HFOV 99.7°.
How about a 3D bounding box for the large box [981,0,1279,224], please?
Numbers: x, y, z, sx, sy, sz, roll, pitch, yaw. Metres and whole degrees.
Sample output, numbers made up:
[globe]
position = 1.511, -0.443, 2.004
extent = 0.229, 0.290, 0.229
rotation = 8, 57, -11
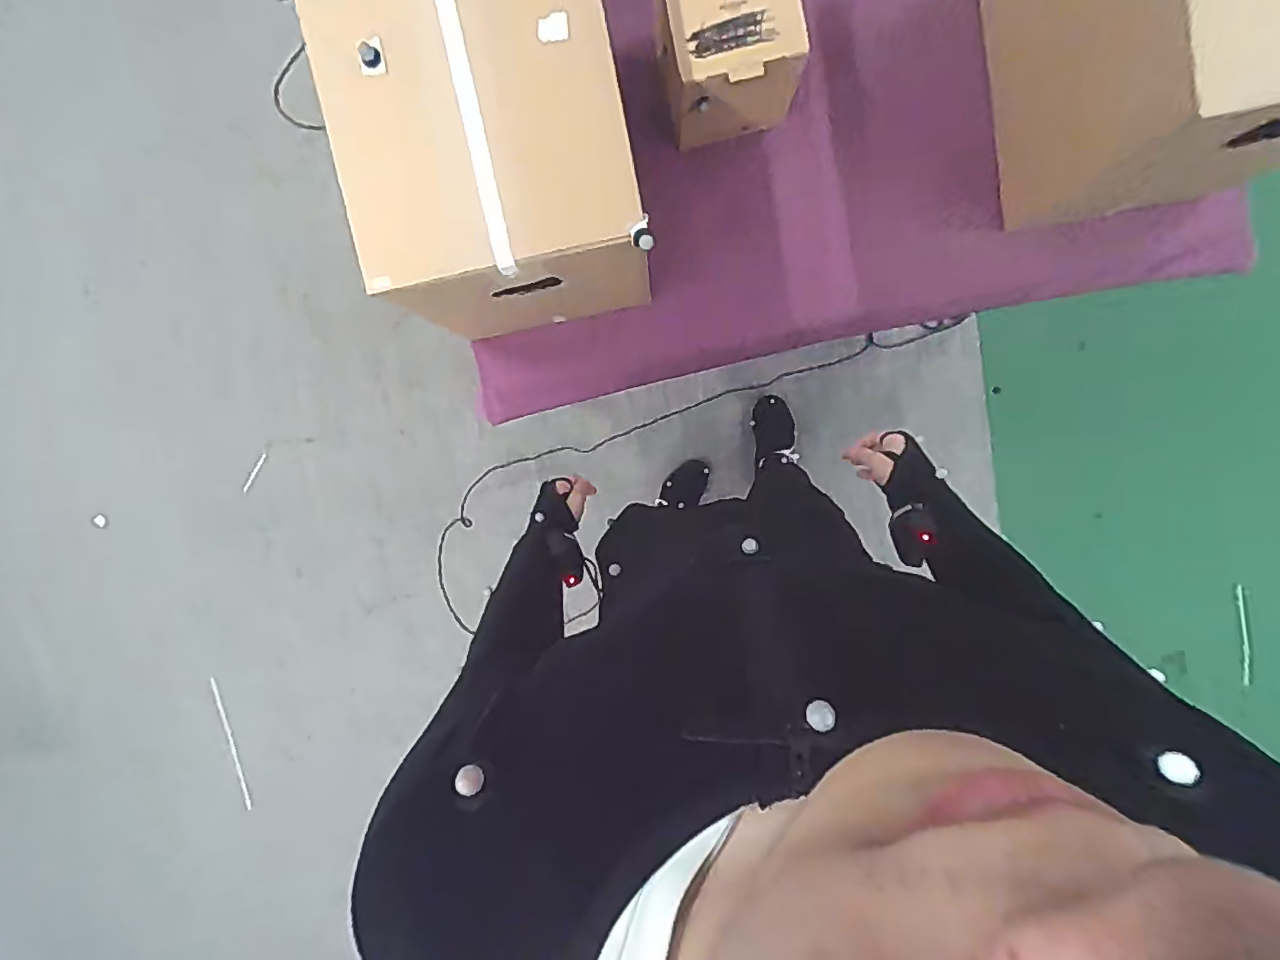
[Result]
[large box]
position = 0.674, -0.598, 0.659
extent = 0.320, 0.320, 0.408
rotation = -11, 96, 4
